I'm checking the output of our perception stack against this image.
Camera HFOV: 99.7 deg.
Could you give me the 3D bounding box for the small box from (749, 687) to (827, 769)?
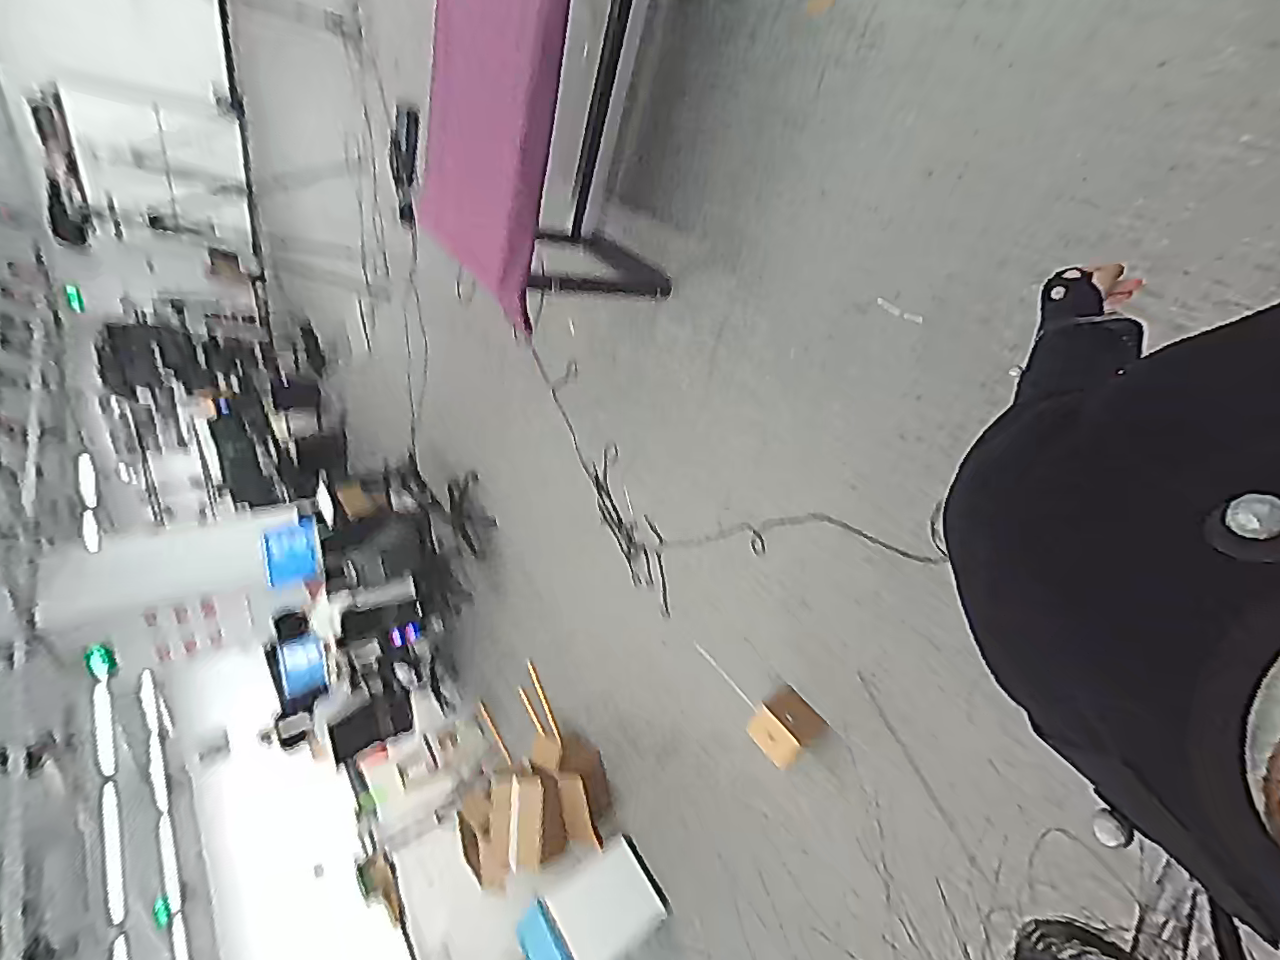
[{"bbox_3d":[0.529,0.873,1.923,0.179,0.176,0.168,44,130,35],"label":"small box"}]
